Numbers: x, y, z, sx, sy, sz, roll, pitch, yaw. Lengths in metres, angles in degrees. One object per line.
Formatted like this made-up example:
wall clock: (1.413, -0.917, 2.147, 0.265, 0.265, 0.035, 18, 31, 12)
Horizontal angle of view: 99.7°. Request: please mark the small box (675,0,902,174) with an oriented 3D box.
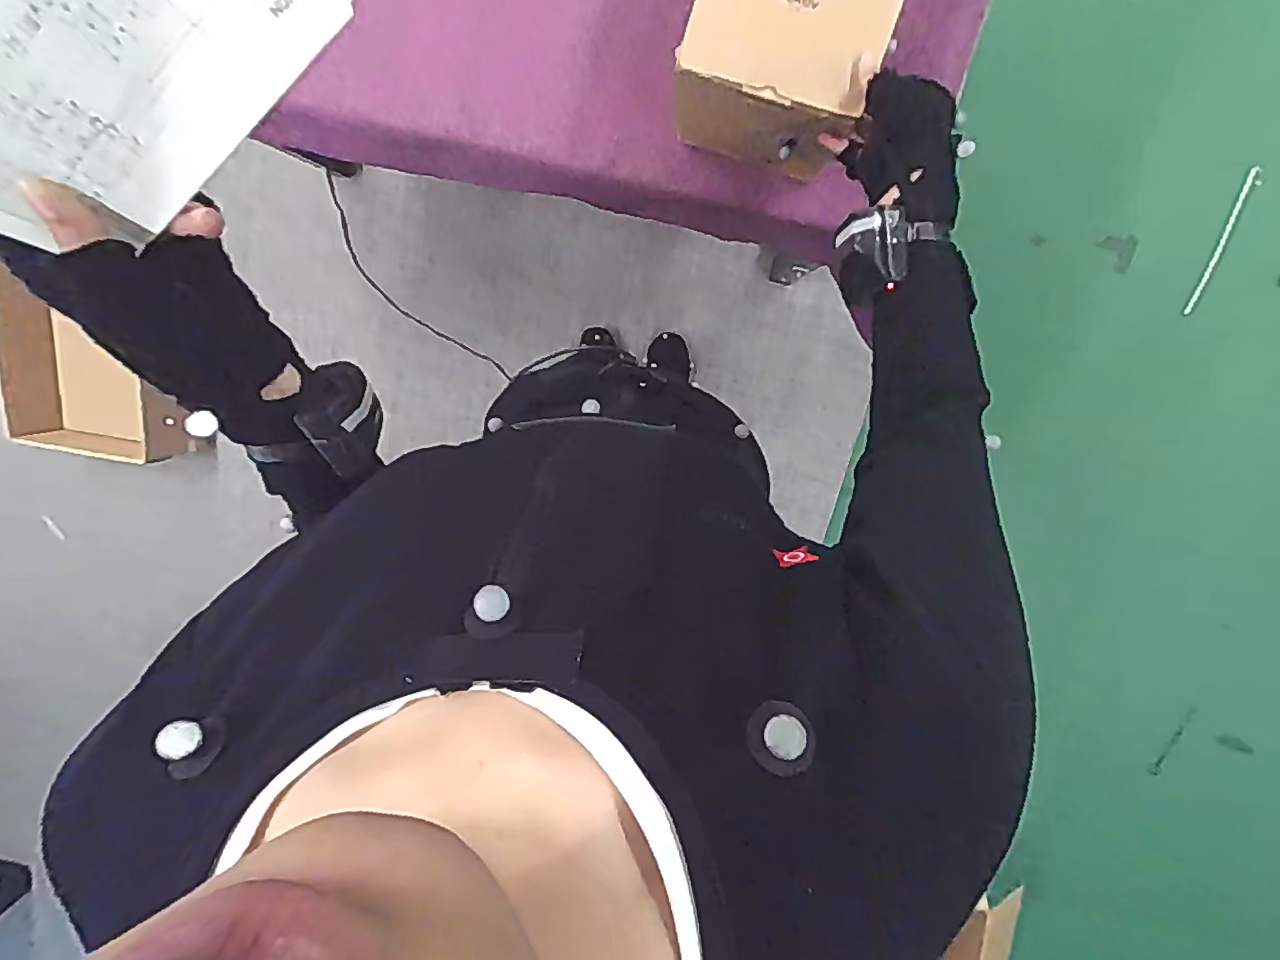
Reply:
small box: (0.140, -0.424, 0.517, 0.168, 0.176, 0.179, 18, 105, 0)
